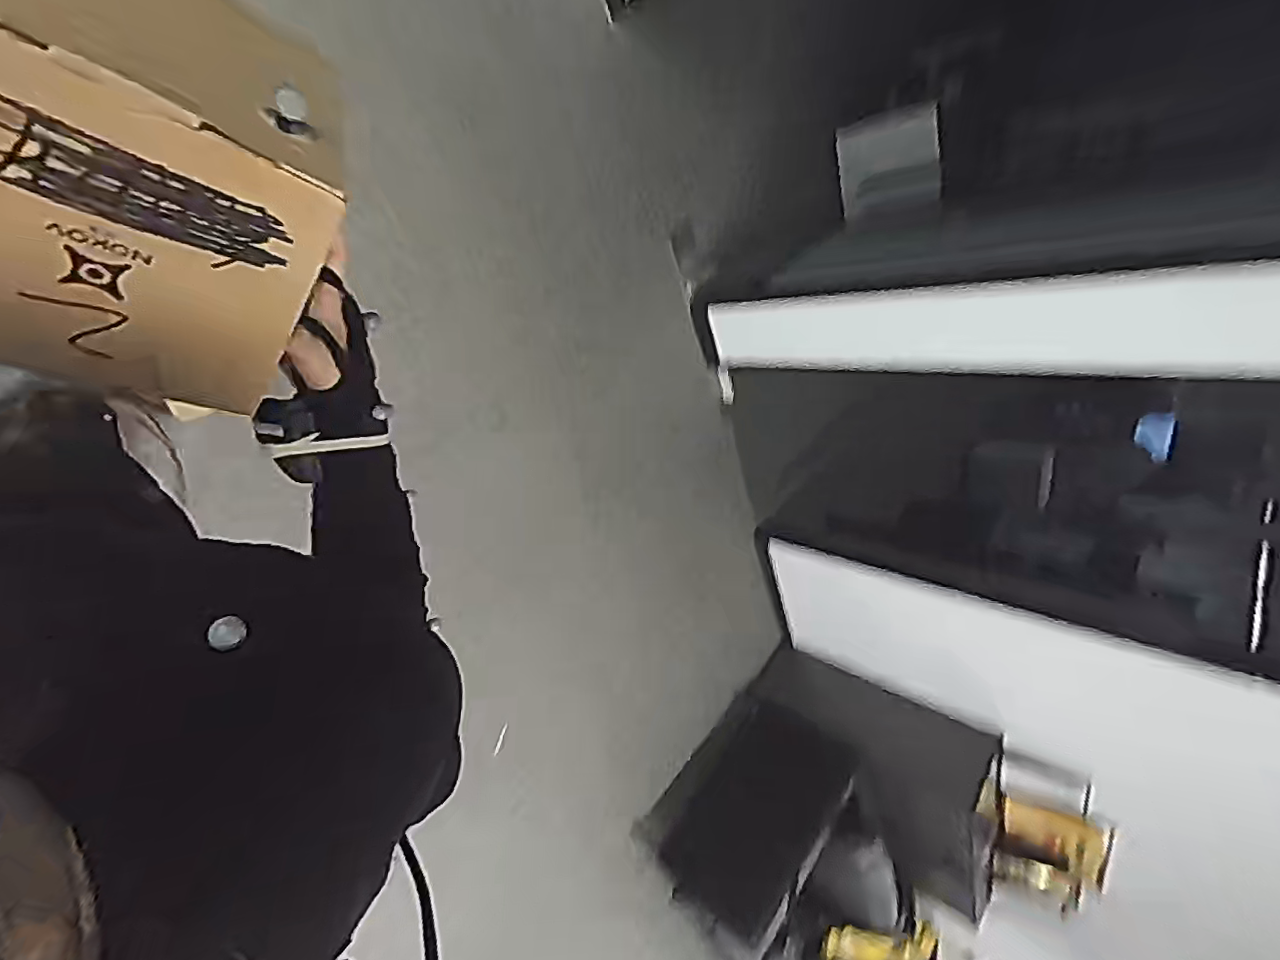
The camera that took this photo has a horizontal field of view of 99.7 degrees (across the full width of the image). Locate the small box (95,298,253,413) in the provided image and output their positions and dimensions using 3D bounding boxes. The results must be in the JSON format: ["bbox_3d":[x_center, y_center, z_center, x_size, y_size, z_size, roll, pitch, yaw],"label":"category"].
[{"bbox_3d":[-0.917,-0.249,1.073,0.179,0.176,0.168,-38,125,-31],"label":"small box"}]
